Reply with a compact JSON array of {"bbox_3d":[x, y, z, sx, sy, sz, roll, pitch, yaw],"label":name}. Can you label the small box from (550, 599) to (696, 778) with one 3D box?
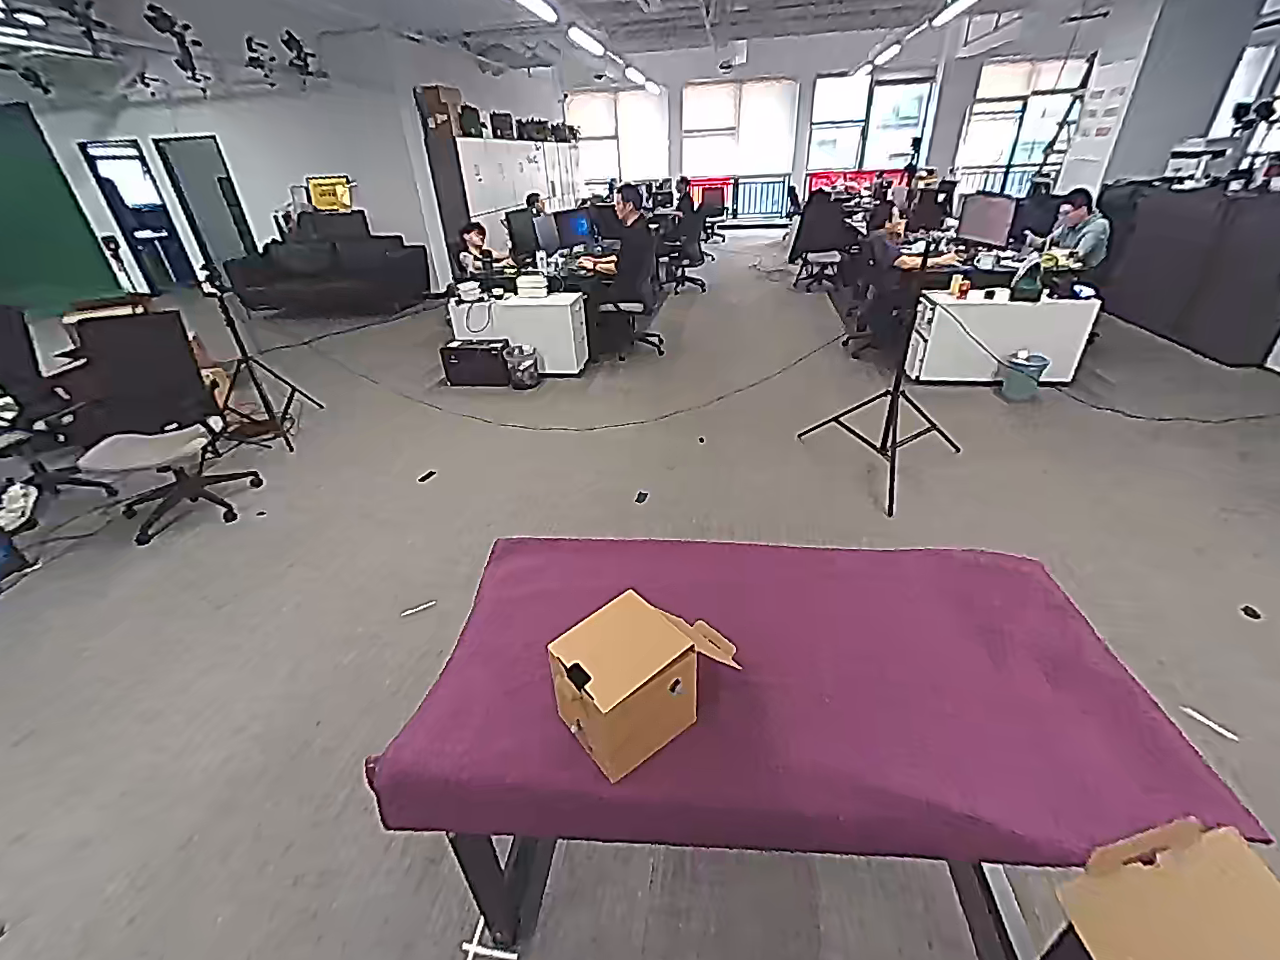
[{"bbox_3d":[-0.026,0.335,0.885,0.179,0.176,0.168,-23,35,-31],"label":"small box"}]
